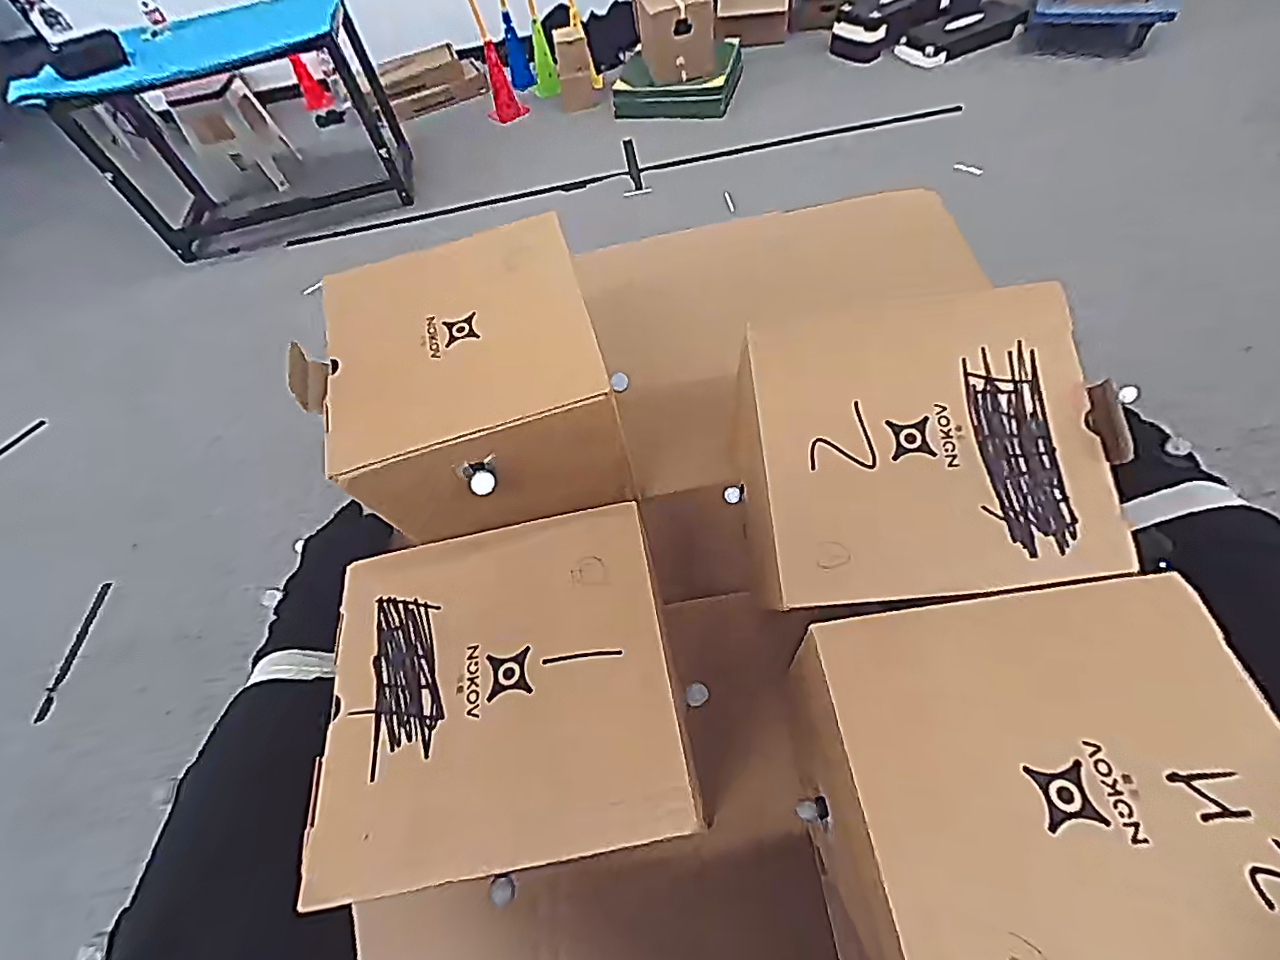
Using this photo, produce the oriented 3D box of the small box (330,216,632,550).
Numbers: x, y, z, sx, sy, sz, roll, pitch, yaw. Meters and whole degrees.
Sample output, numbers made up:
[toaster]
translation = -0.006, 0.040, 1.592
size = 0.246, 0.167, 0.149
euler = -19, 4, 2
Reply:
[small box]
translation = -0.110, -0.063, 0.428
size = 0.179, 0.176, 0.168
euler = -17, 64, 0
